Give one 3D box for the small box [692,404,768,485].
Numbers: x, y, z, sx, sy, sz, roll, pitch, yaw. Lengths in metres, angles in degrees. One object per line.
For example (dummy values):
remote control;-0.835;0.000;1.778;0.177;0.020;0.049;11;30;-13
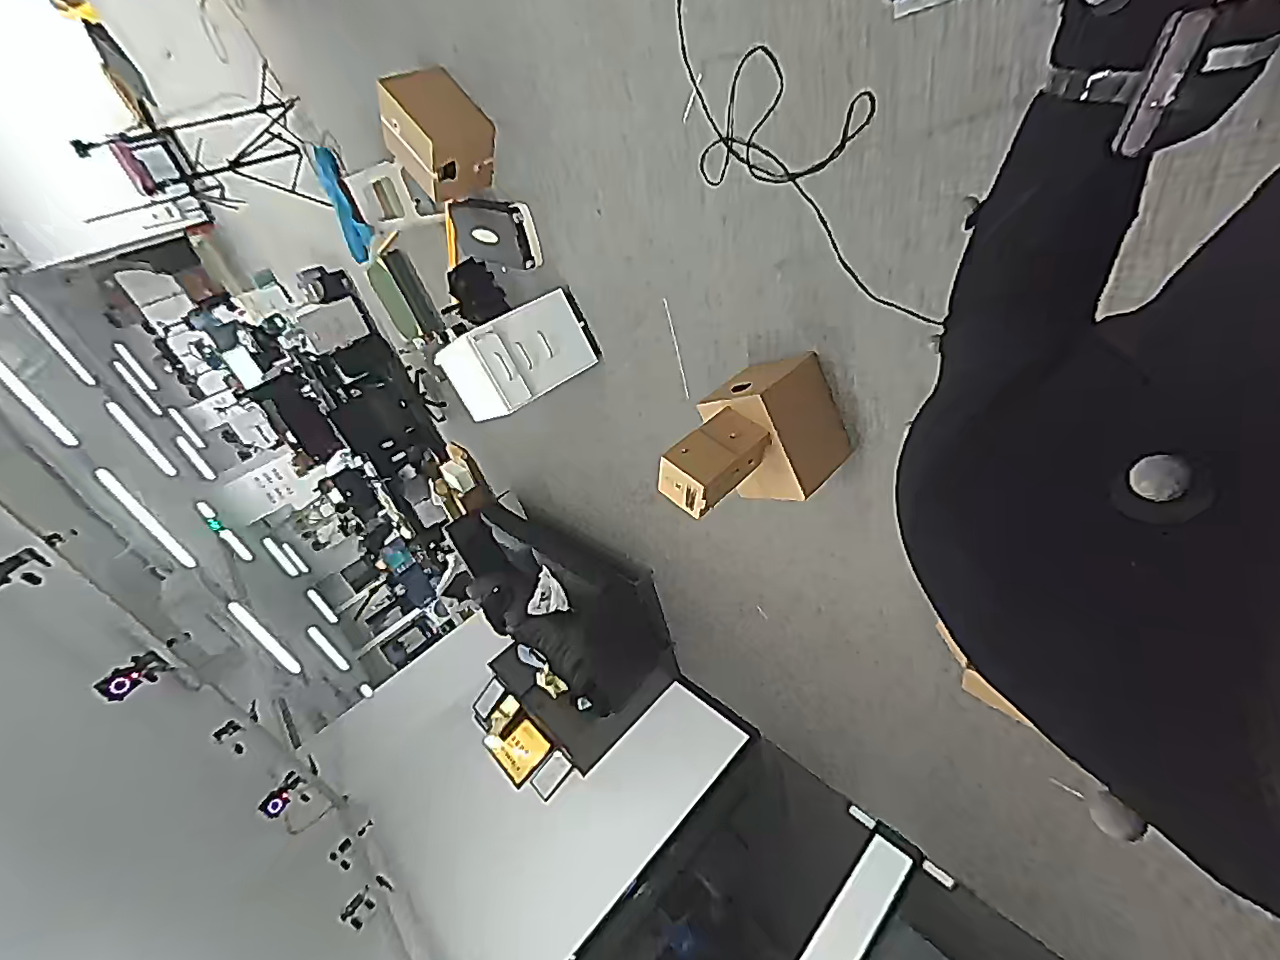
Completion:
small box;0.297;-0.123;1.782;0.179;0.176;0.168;36;148;25
